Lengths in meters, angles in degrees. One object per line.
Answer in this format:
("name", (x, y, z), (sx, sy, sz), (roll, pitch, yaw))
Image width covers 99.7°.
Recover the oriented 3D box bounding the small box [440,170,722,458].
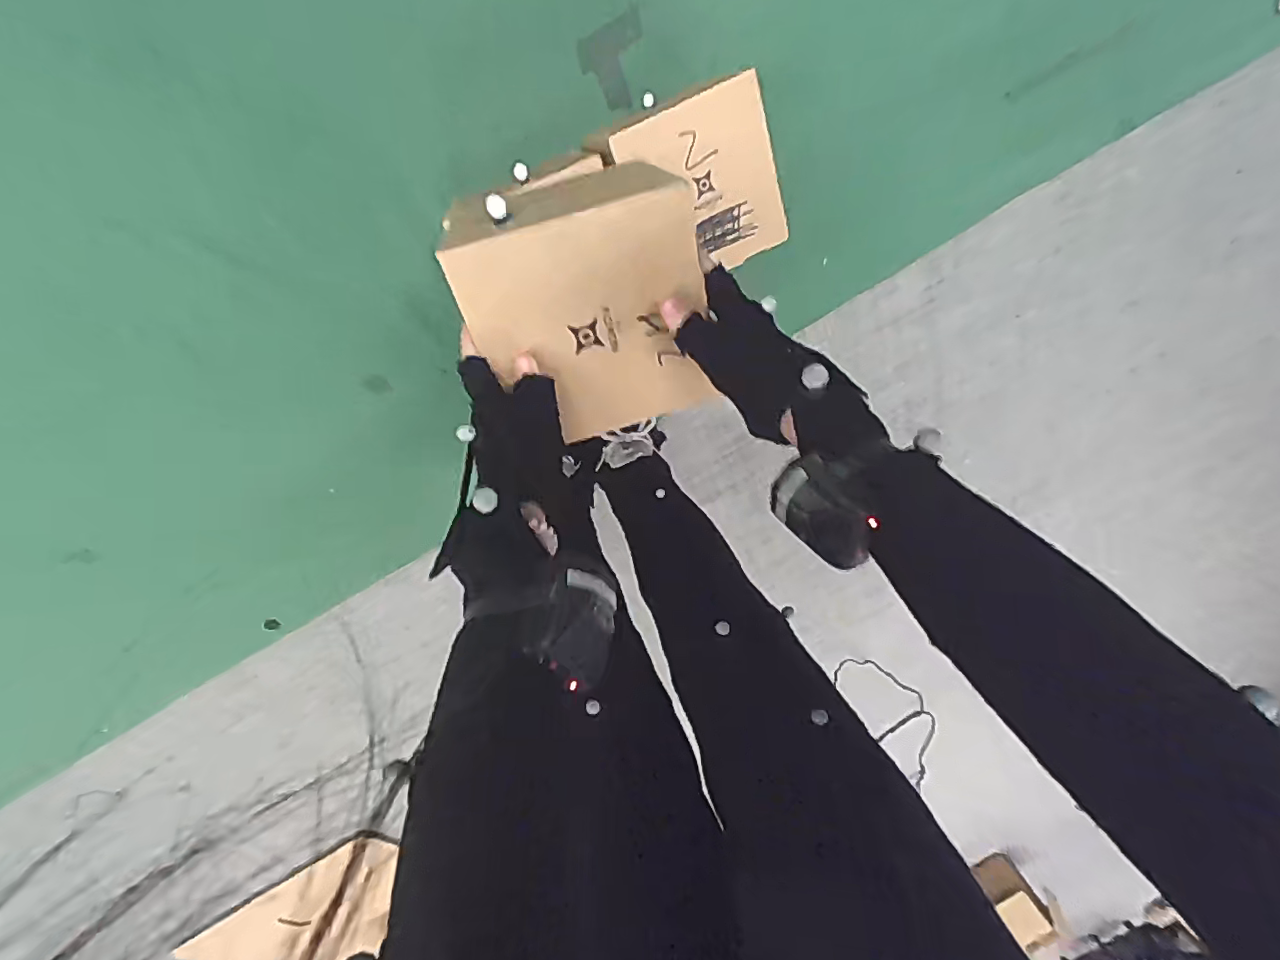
("small box", (-0.046, -0.148, 0.460), (0.179, 0.176, 0.168), (-17, 127, -3))
